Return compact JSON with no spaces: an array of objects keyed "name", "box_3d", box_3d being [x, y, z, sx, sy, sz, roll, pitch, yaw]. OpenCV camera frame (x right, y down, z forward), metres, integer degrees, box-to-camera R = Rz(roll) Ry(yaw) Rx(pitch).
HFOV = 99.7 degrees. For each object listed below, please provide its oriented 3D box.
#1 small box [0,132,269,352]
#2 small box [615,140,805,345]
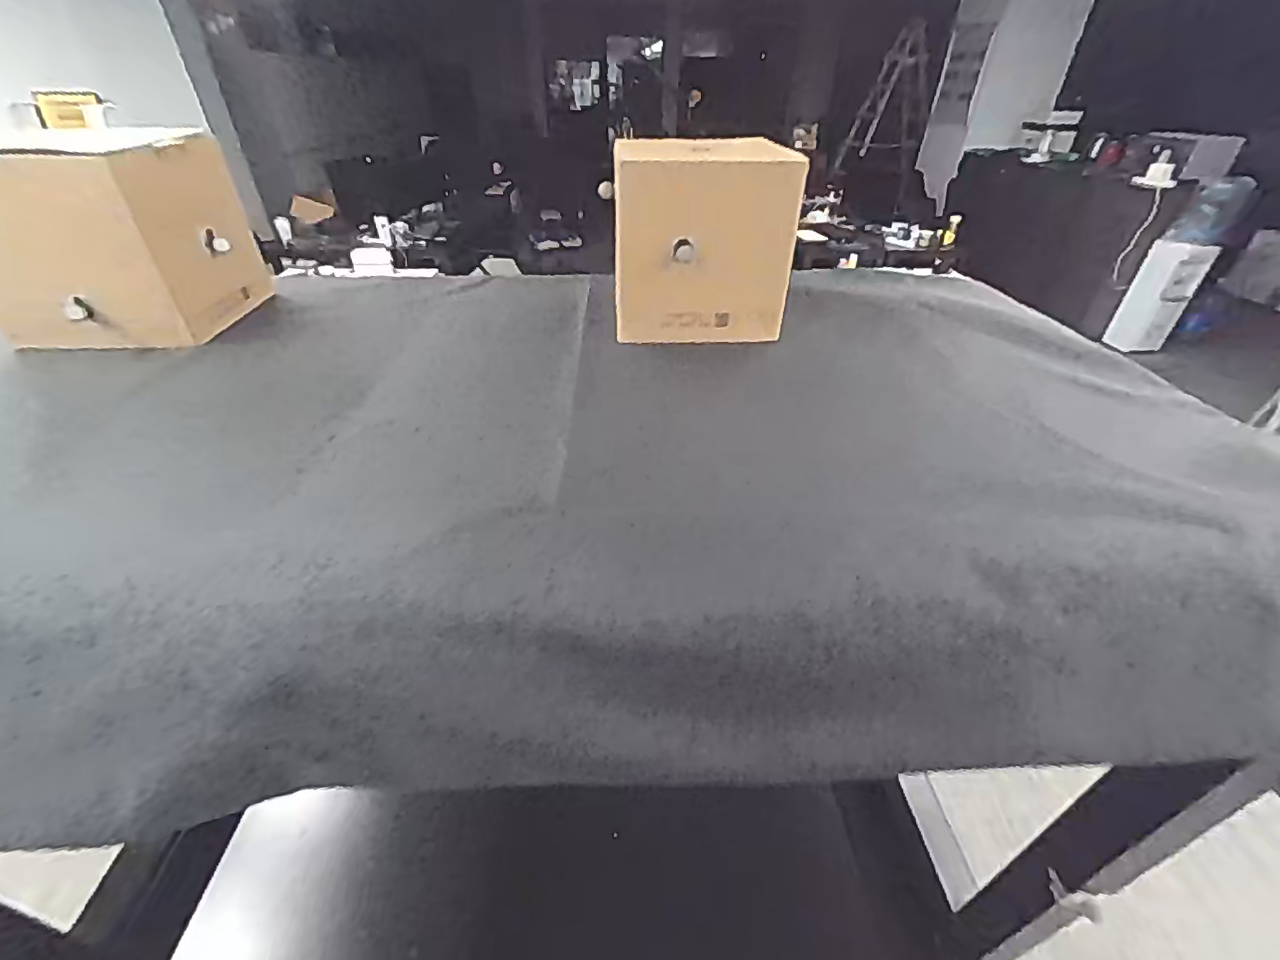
[{"name":"small box","box_3d":[-0.518,-0.235,0.538,0.179,0.176,0.168,-1,37,-4]},{"name":"small box","box_3d":[0.059,-0.250,0.571,0.168,0.176,0.179,-2,37,-3]}]
